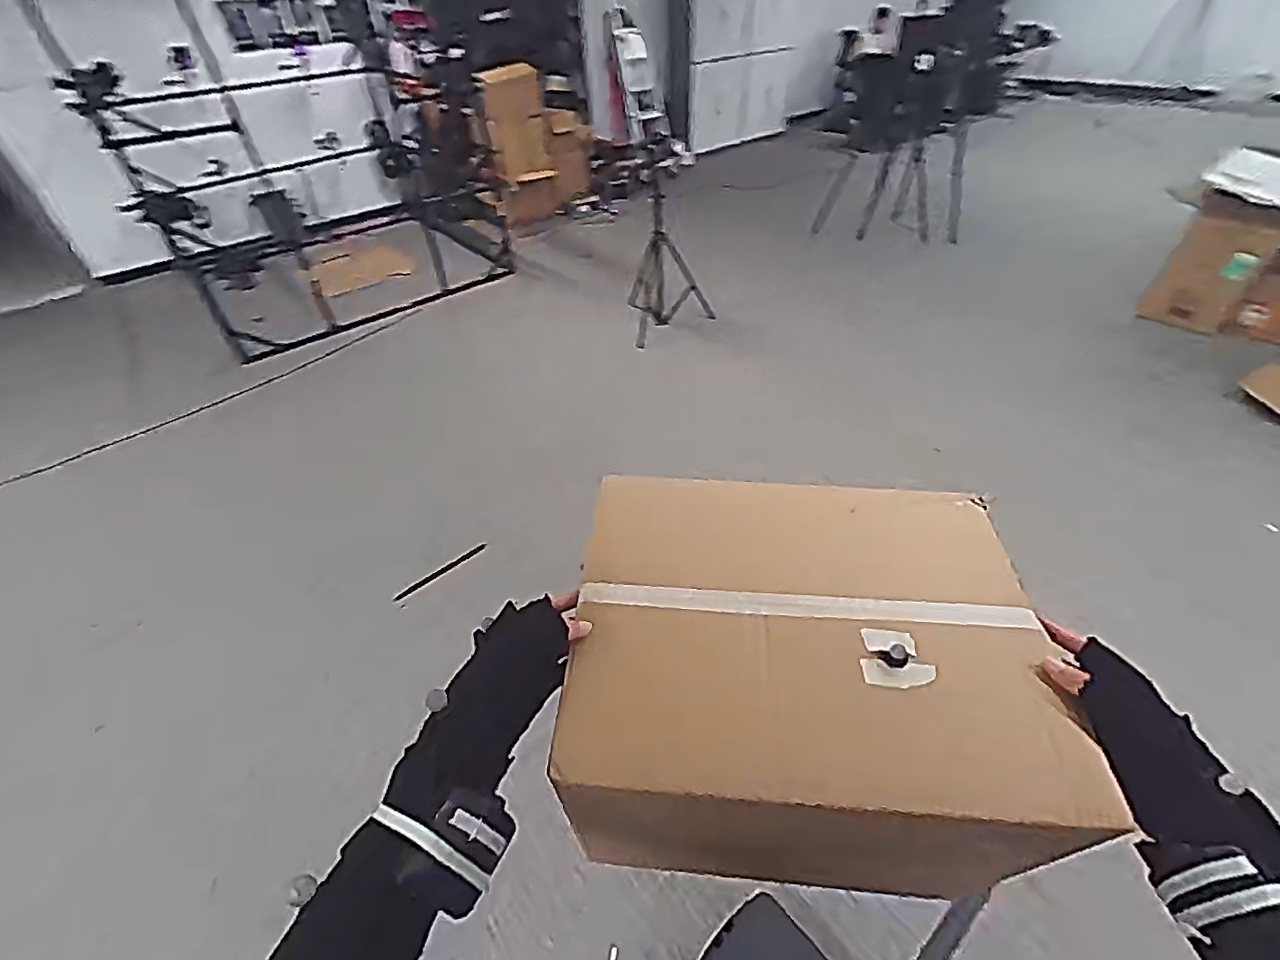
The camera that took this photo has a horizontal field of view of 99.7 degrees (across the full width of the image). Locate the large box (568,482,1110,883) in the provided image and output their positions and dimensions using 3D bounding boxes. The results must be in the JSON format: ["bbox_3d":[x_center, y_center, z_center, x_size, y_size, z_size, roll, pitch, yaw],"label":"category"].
[{"bbox_3d":[0.152,0.223,0.605,0.408,0.320,0.320,3,47,4],"label":"large box"}]
